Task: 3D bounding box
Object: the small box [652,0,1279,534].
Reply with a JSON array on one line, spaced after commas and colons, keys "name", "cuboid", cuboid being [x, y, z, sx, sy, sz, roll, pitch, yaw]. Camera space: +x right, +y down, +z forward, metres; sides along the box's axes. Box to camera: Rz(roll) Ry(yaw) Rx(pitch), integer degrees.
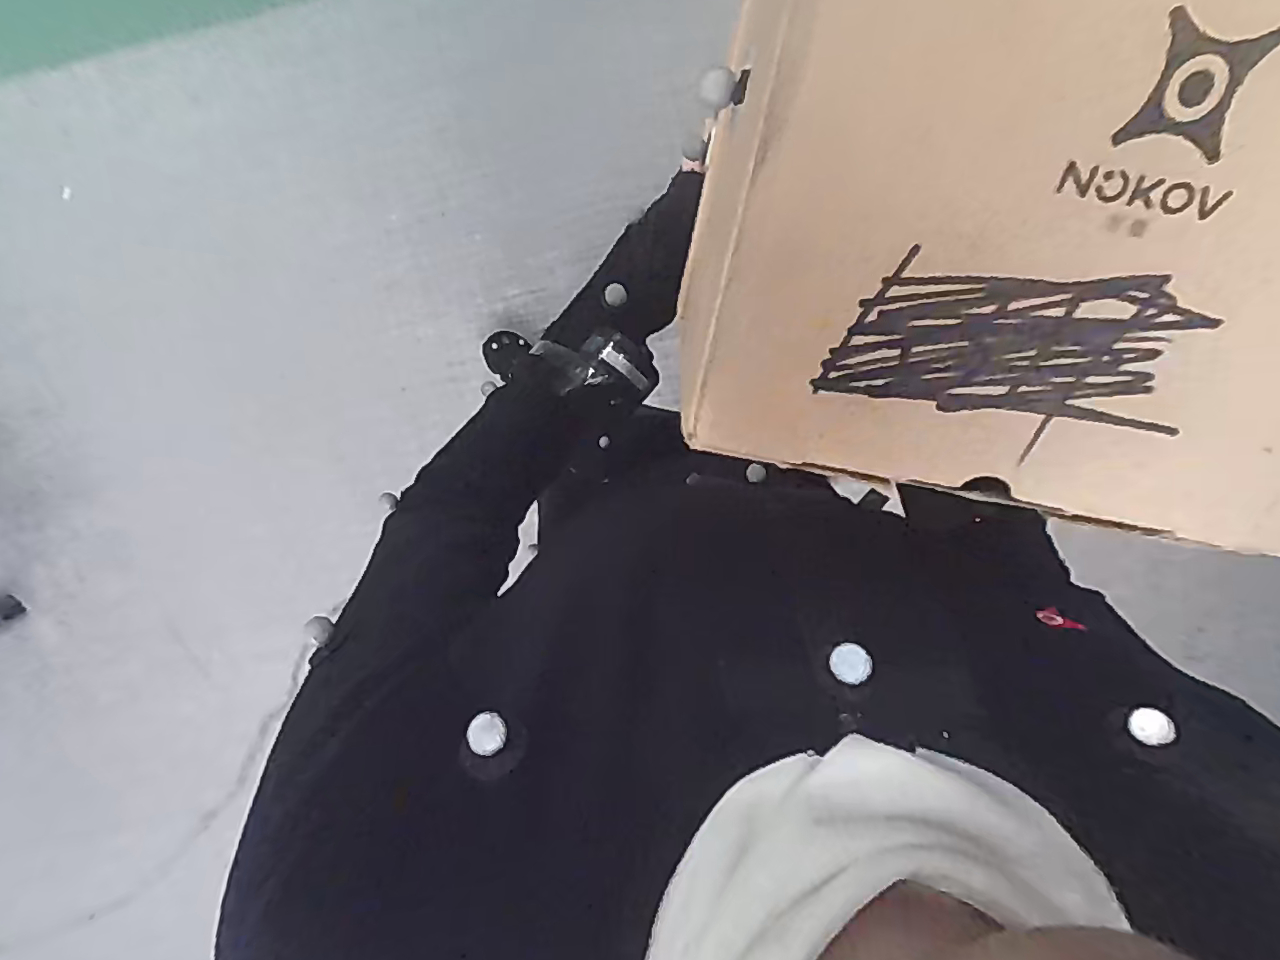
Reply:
[{"name": "small box", "cuboid": [0.103, -0.108, 0.191, 0.168, 0.176, 0.179, 10, 114, -1]}]
